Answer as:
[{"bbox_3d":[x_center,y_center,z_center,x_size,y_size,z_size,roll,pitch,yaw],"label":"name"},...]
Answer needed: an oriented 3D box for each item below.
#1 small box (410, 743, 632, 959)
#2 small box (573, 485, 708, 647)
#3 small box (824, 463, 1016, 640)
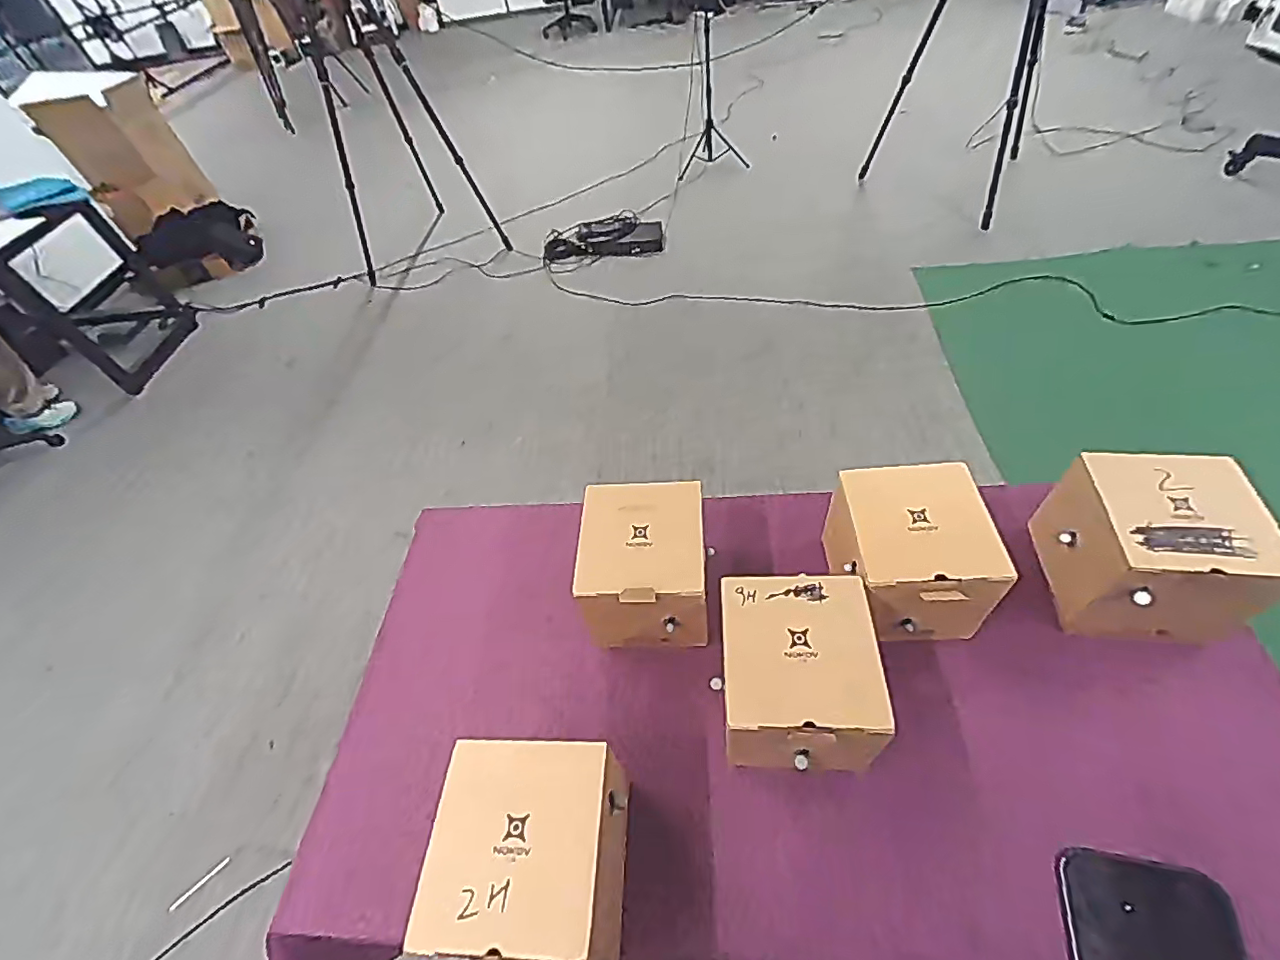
[{"bbox_3d":[-0.104,0.396,0.567,0.168,0.176,0.179,-3,48,8],"label":"small box"},{"bbox_3d":[0.011,0.128,0.772,0.168,0.176,0.179,-2,51,7],"label":"small box"},{"bbox_3d":[0.357,0.100,0.733,0.168,0.176,0.179,-5,52,7],"label":"small box"}]
